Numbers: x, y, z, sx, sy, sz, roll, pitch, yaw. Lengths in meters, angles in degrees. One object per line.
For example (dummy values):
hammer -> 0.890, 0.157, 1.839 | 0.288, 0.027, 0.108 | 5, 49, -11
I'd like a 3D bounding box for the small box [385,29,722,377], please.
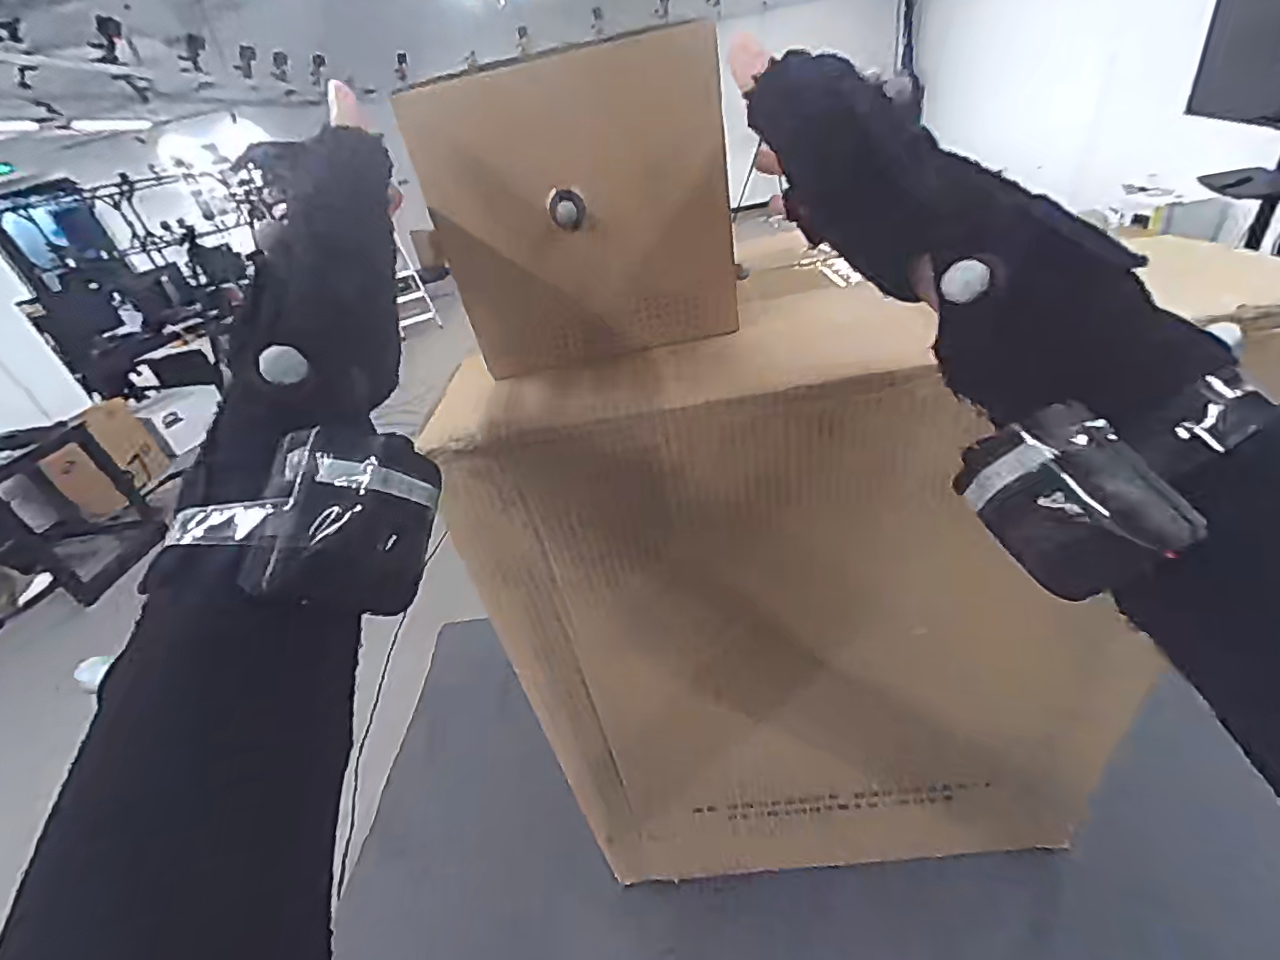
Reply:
small box -> -0.041, -0.195, 0.392 | 0.179, 0.176, 0.168 | -12, 36, 4
